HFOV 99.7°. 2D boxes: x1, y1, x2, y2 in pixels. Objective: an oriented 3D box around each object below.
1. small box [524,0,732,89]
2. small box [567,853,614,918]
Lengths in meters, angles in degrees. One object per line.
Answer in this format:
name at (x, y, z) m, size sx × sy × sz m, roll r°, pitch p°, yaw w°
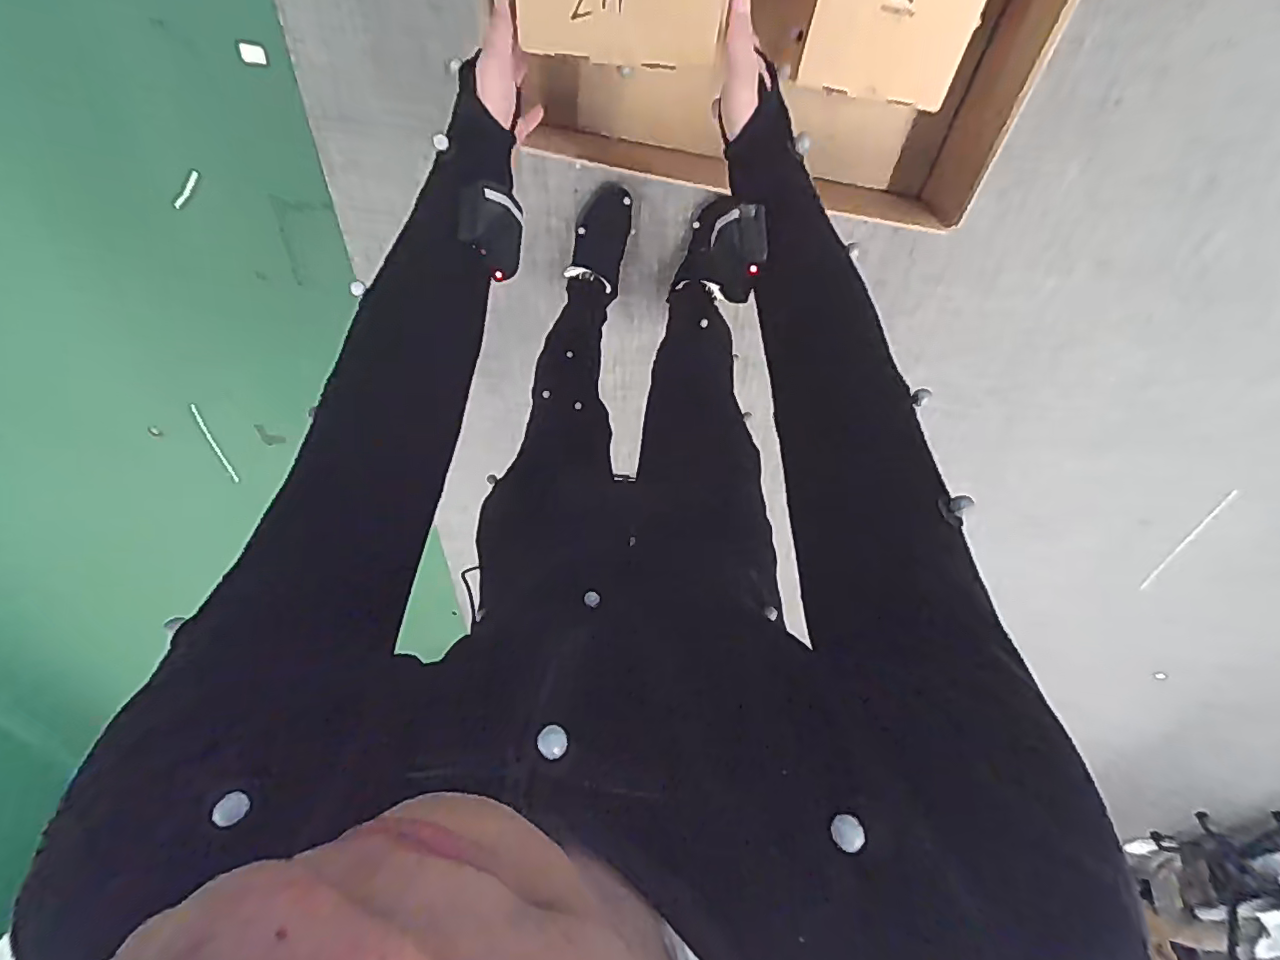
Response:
small box at (-0.002, -0.457, 0.456) m, size 0.168 × 0.176 × 0.179 m, roll 7°, pitch 132°, yaw -2°
small box at (-0.193, 1.590, 2.120) m, size 0.168 × 0.176 × 0.179 m, roll 5°, pitch 131°, yaw -2°
